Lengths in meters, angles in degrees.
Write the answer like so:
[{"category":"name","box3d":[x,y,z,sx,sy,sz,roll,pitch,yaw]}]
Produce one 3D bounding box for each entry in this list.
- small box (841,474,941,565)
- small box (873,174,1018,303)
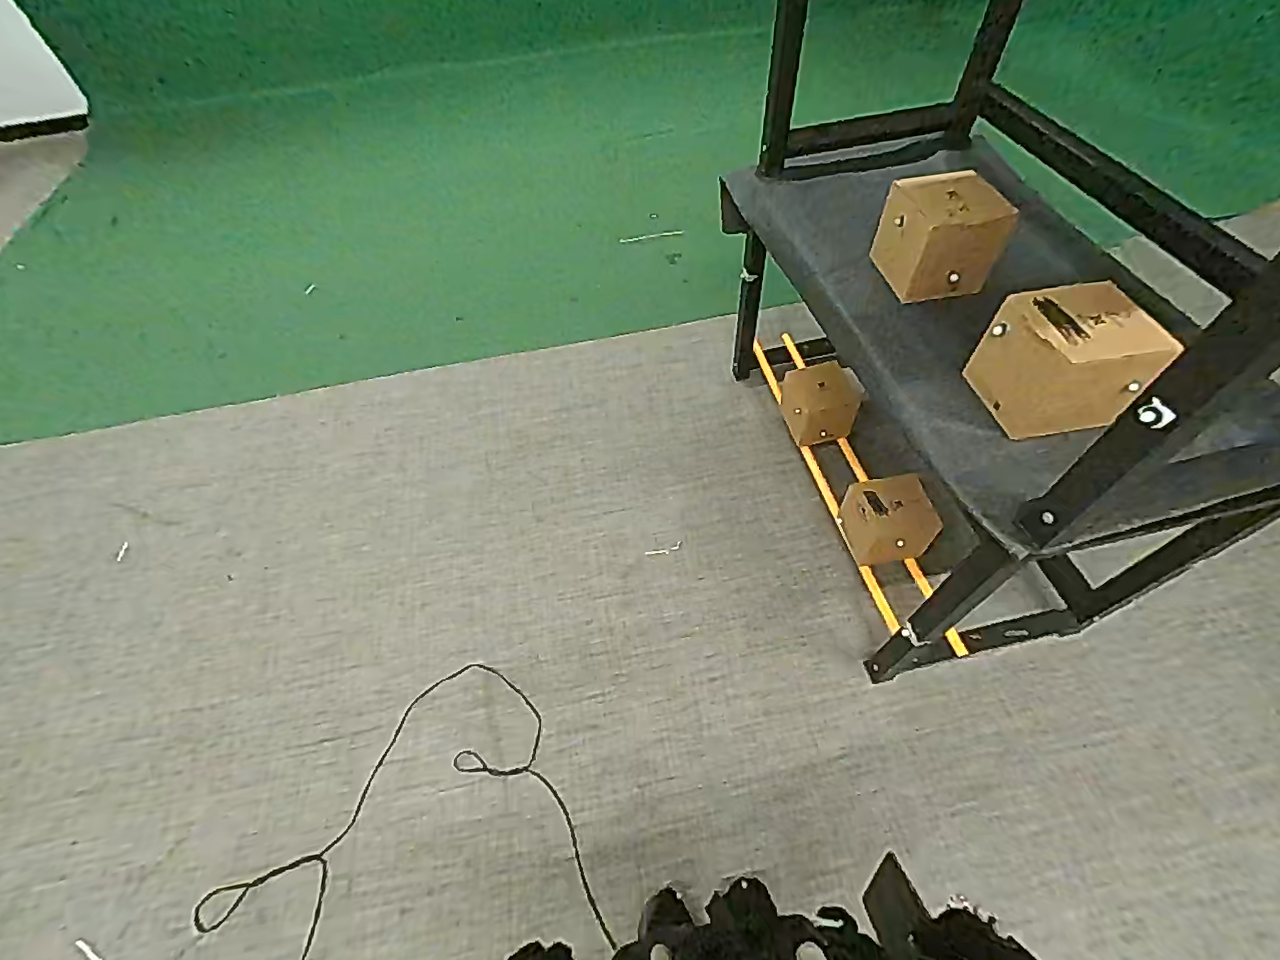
[{"category":"small box","box3d":[0.650,0.110,1.432,0.179,0.176,0.168,-9,55,-2]},{"category":"small box","box3d":[0.600,-0.486,1.093,0.168,0.176,0.179,-9,55,-2]}]
